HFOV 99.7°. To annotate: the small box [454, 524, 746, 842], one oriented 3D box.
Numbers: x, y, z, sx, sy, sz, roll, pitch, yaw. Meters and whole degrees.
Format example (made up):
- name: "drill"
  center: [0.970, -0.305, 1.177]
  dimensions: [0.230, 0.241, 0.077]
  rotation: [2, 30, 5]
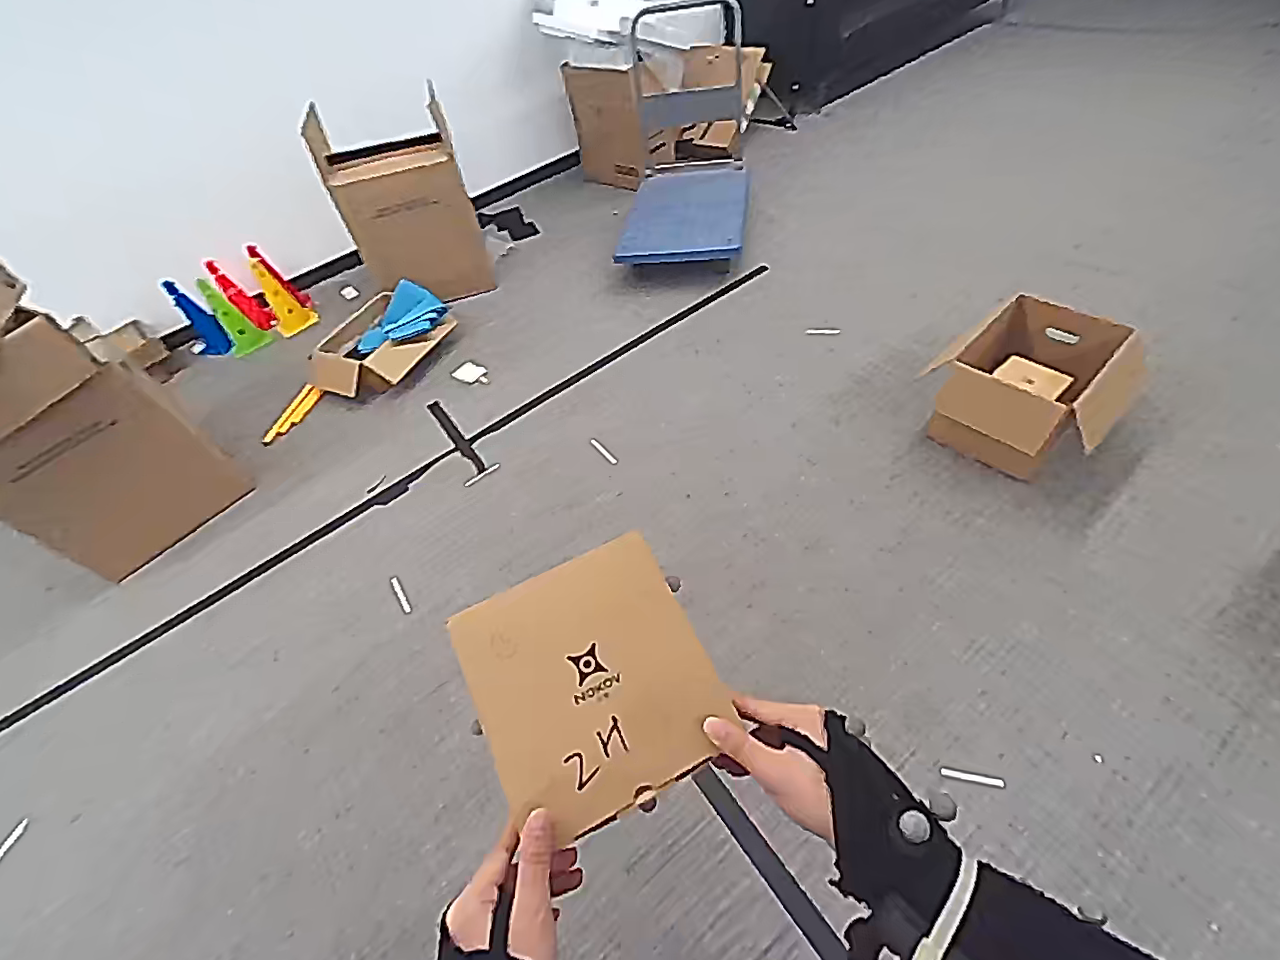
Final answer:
- name: "small box"
  center: [-0.036, 0.171, 0.466]
  dimensions: [0.168, 0.176, 0.179]
  rotation: [-24, 66, -12]
